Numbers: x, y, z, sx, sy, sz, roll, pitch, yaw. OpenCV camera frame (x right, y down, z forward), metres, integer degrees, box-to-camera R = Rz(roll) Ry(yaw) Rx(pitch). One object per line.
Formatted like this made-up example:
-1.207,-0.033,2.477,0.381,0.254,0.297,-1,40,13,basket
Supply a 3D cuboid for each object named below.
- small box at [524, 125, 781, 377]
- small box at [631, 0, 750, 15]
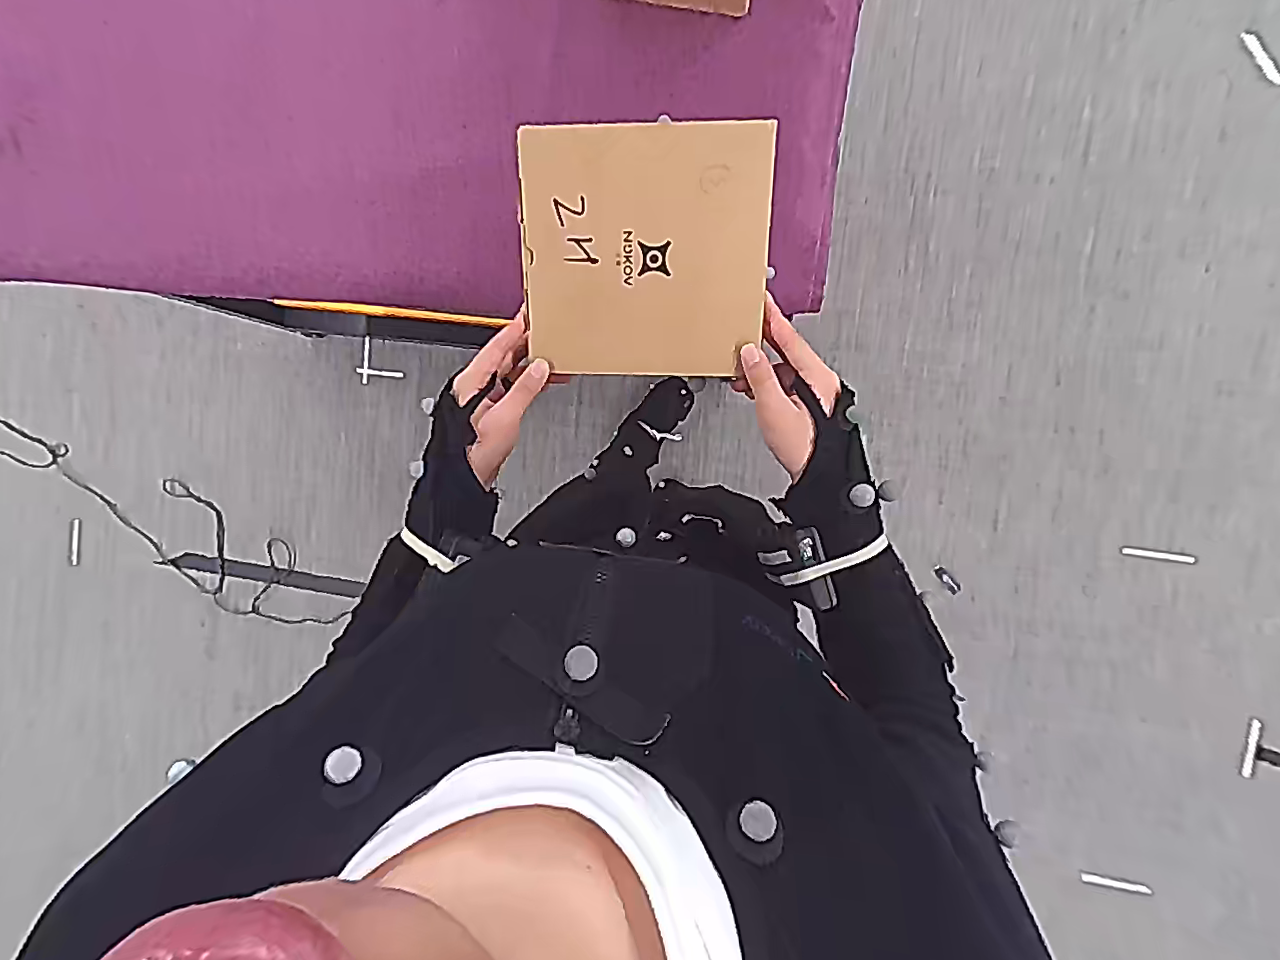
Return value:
0.012,-0.183,0.460,0.179,0.176,0.168,3,108,5,small box
0.042,-0.602,0.521,0.179,0.176,0.168,13,96,4,small box
